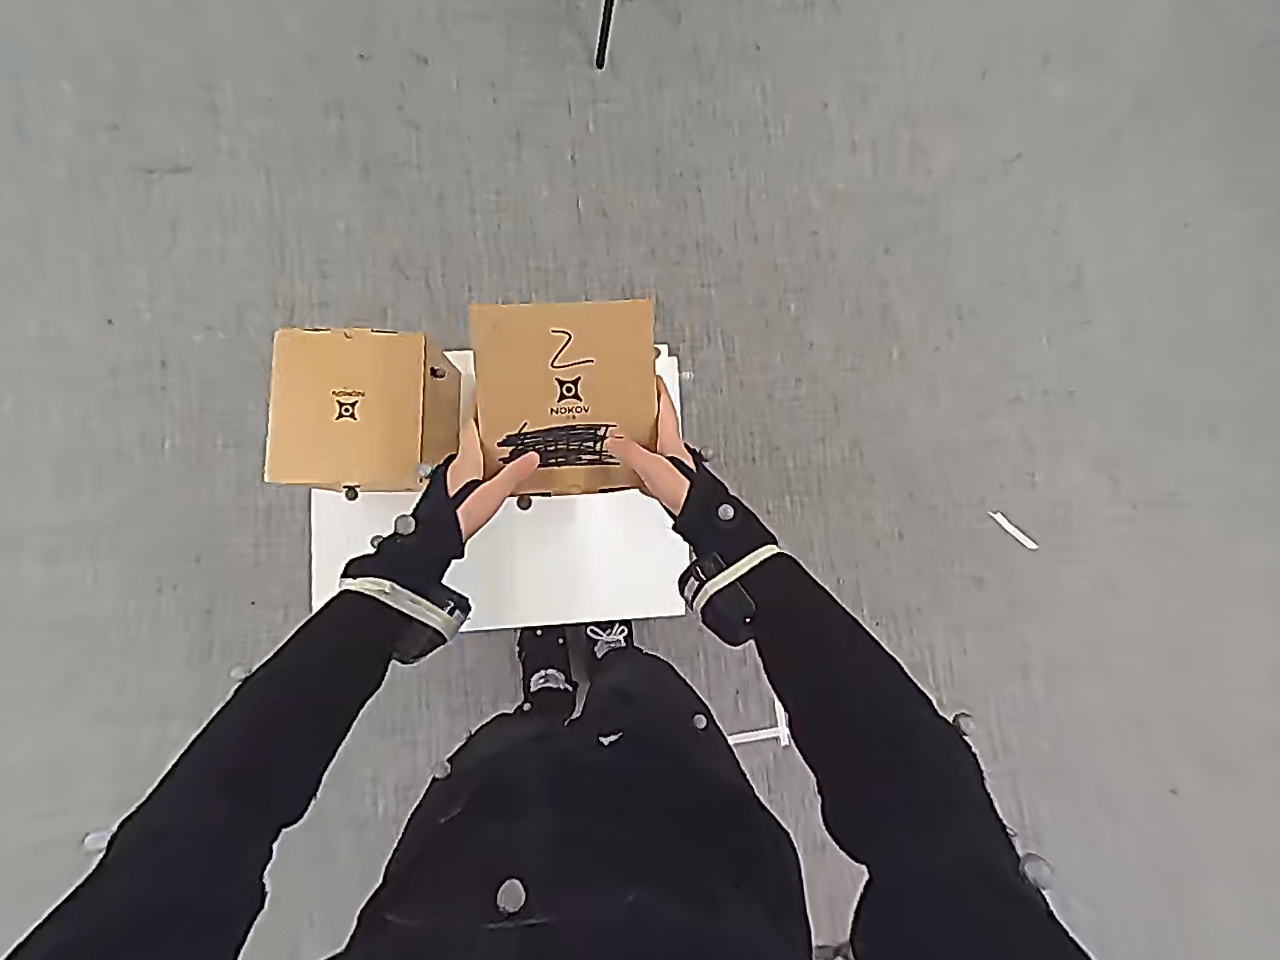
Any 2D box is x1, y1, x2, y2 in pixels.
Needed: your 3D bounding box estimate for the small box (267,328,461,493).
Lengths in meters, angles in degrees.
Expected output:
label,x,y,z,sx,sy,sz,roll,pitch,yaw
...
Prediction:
label,x,y,z,sx,sy,sz,roll,pitch,yaw
small box,-0.327,-0.075,0.674,0.168,0.176,0.179,0,85,-5
